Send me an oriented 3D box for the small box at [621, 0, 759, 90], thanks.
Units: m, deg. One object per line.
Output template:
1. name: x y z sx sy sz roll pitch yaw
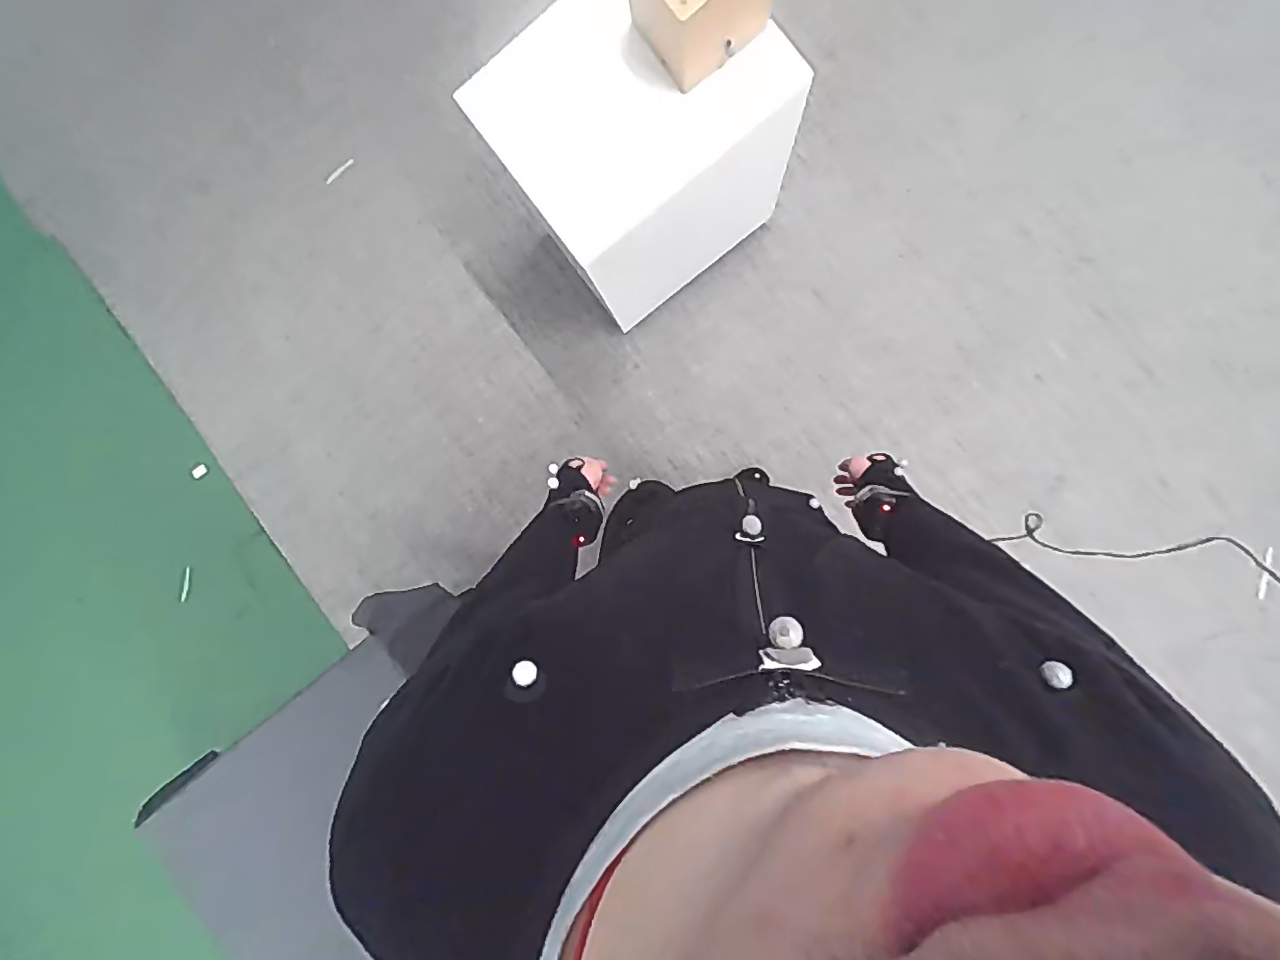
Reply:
1. small box: 0.076 -0.769 0.835 0.179 0.176 0.168 -37 89 5
